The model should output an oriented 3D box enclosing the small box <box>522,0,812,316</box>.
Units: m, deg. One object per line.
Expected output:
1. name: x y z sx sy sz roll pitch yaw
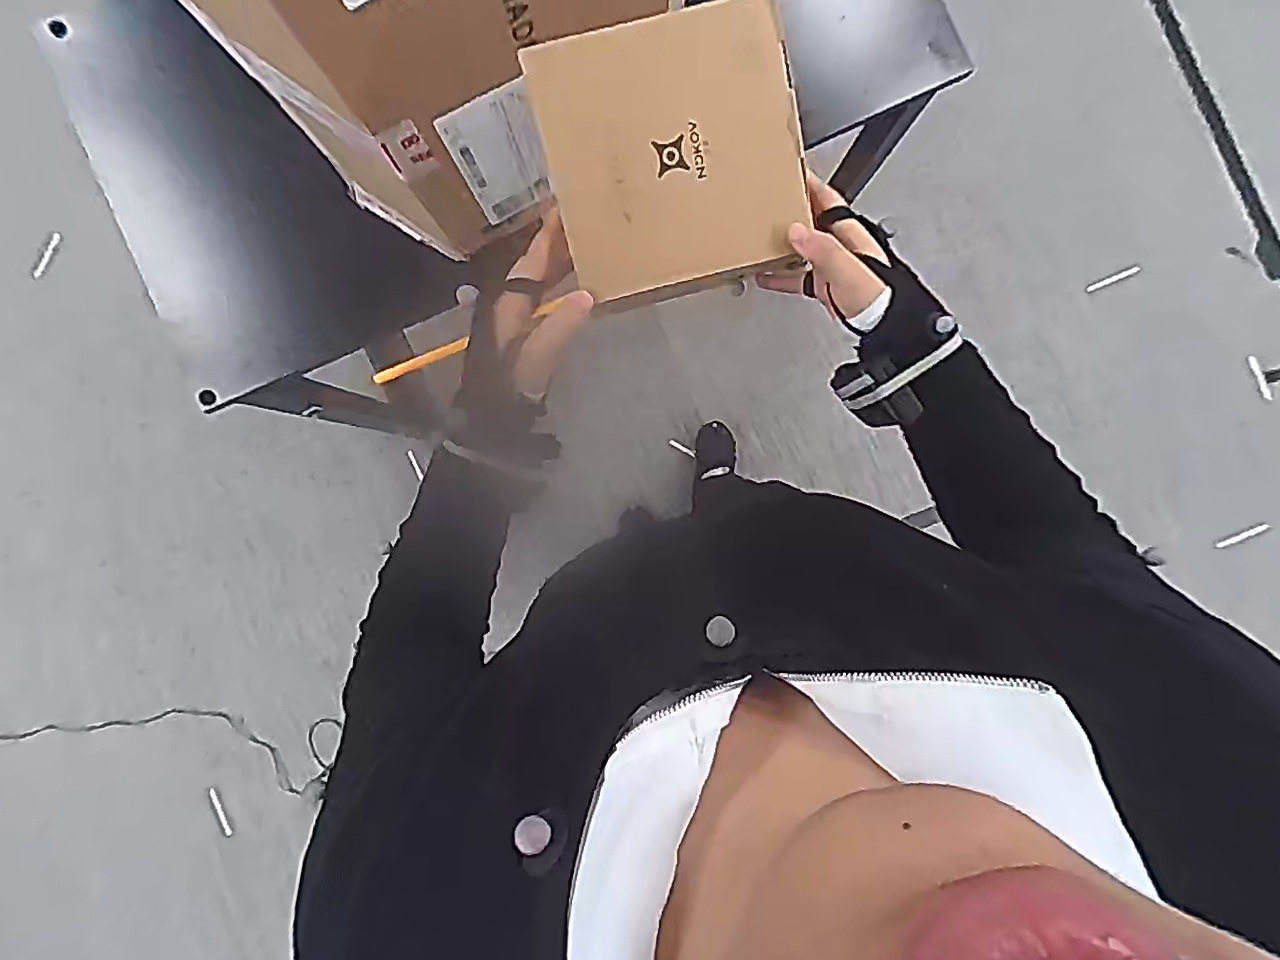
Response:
1. small box: 0.018 -0.245 0.454 0.179 0.176 0.168 -15 102 0
